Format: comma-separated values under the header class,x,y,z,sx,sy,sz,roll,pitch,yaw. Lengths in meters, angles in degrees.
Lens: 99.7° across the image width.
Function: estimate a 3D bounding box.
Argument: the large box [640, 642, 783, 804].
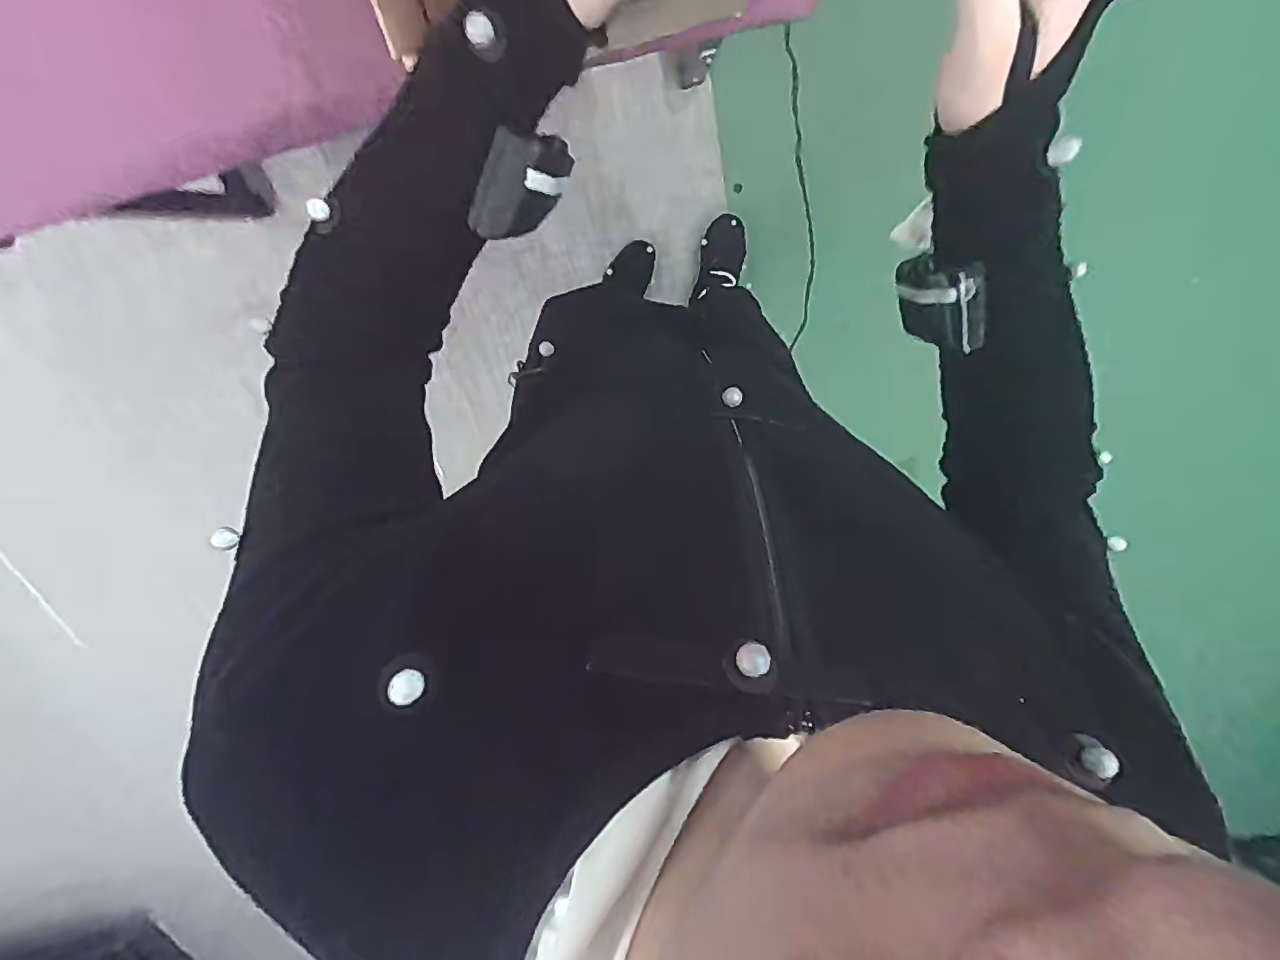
class,x,y,z,sx,sy,sz,roll,pitch,yaw
large box,0.242,0.885,1.983,0.320,0.320,0.408,41,107,-19
